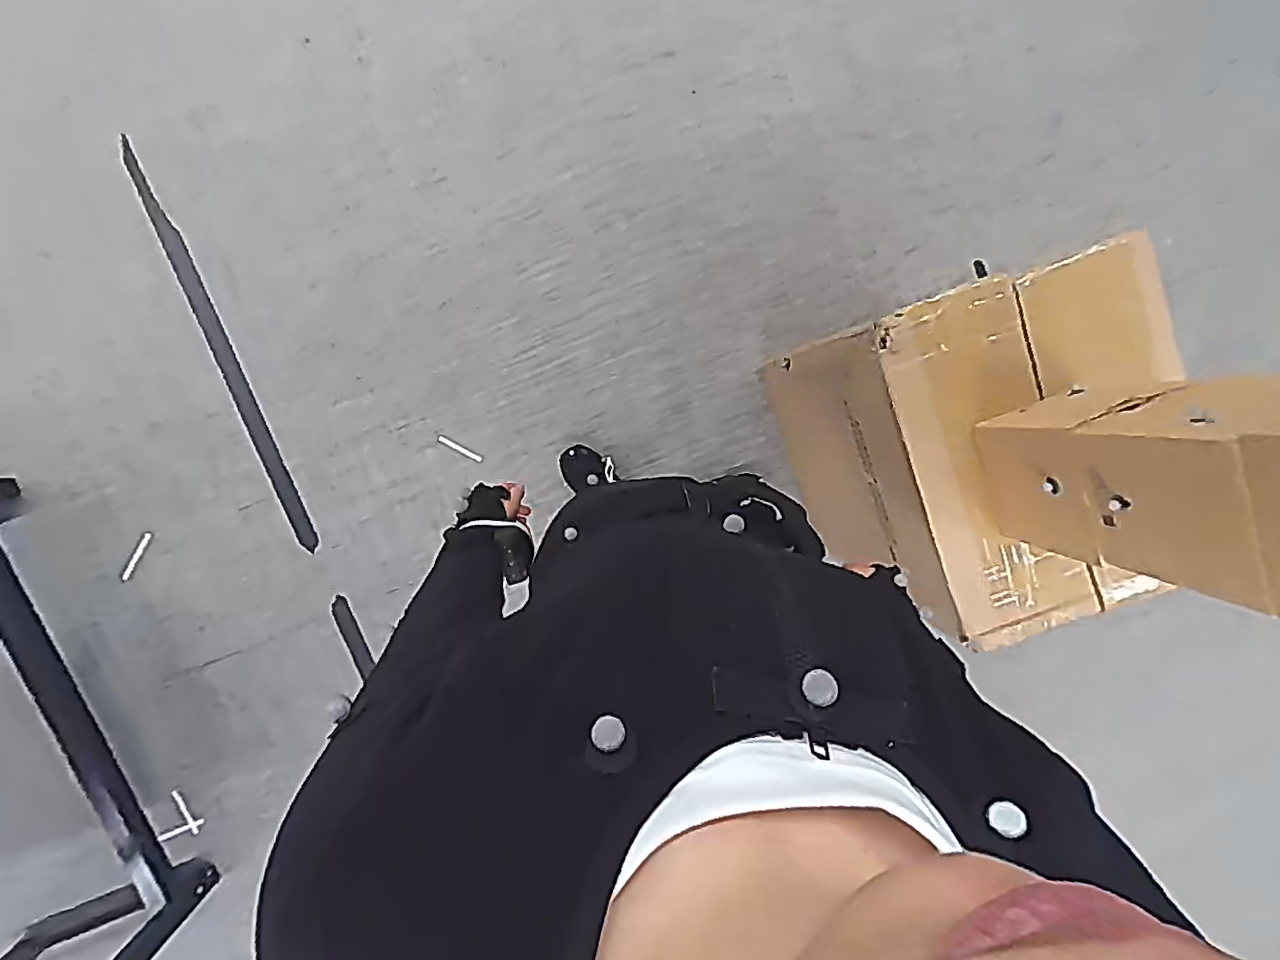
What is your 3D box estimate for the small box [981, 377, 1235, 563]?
[{"bbox_3d":[0.579,-0.018,0.694,0.168,0.176,0.179,-20,97,1],"label":"small box"}]
